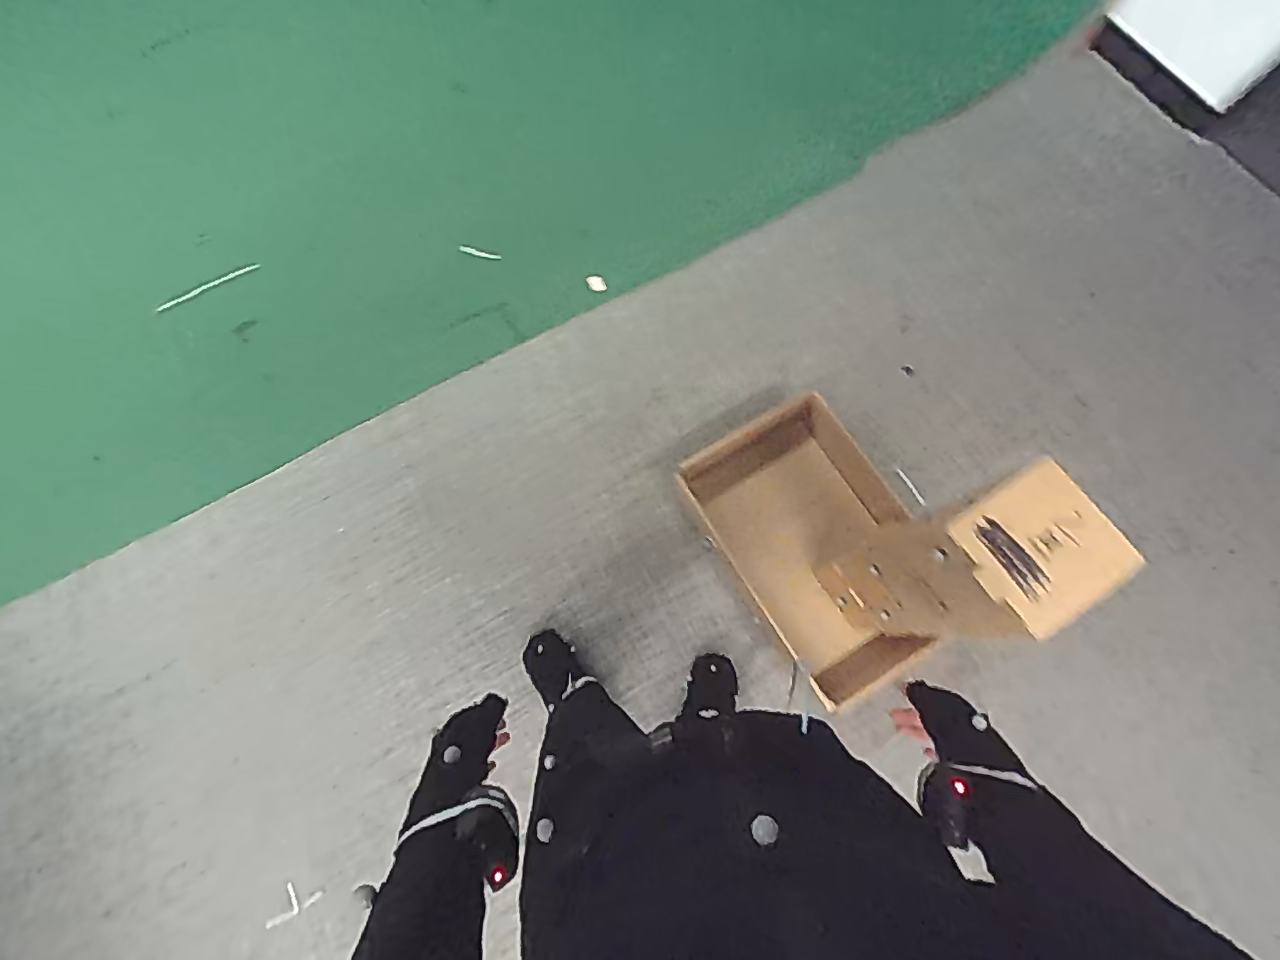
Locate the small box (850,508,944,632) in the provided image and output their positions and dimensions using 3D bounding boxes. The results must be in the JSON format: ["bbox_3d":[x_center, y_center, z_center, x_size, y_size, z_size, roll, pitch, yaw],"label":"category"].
[{"bbox_3d":[0.532,0.181,1.041,0.179,0.176,0.168,-30,75,-6],"label":"small box"}]

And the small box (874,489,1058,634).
[{"bbox_3d":[0.519,0.143,0.900,0.179,0.176,0.168,-29,76,-6],"label":"small box"}]

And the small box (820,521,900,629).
[{"bbox_3d":[0.530,0.221,1.220,0.179,0.176,0.168,-34,74,-8],"label":"small box"}]
